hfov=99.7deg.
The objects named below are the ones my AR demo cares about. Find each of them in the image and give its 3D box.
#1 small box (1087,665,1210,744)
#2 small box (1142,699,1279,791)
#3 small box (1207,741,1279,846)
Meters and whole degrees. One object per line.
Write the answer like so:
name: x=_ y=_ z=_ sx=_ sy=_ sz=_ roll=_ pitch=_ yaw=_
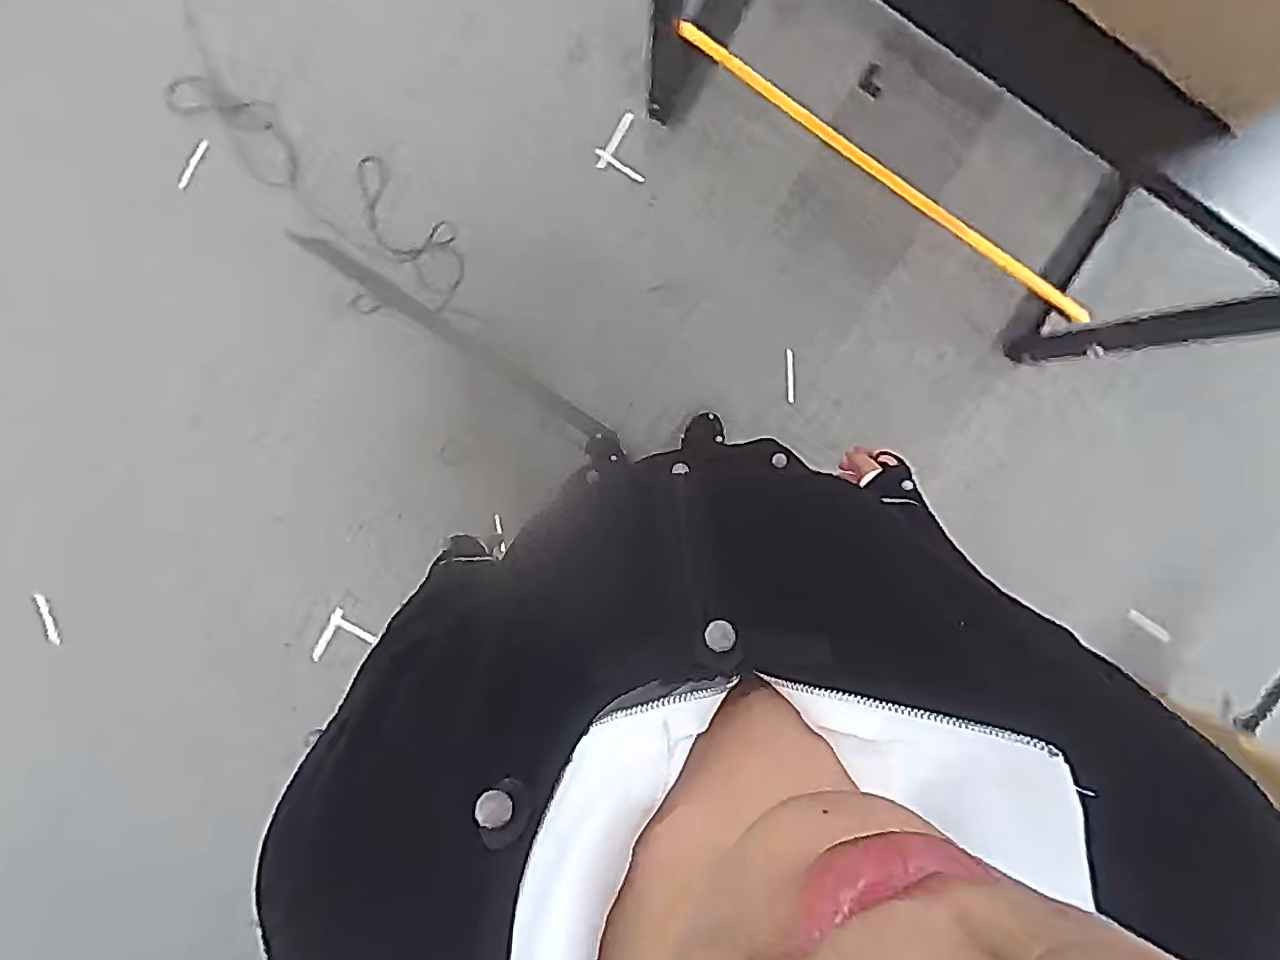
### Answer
small box: x=1.412 y=0.644 z=1.496 sx=0.179 sy=0.176 sz=0.168 roll=29 pitch=95 yaw=-3
small box: x=1.422 y=0.673 z=1.333 sx=0.179 sy=0.176 sz=0.168 roll=24 pitch=95 yaw=-3
small box: x=1.414 y=0.702 z=1.172 sx=0.179 sy=0.176 sz=0.168 roll=22 pitch=96 yaw=-3
